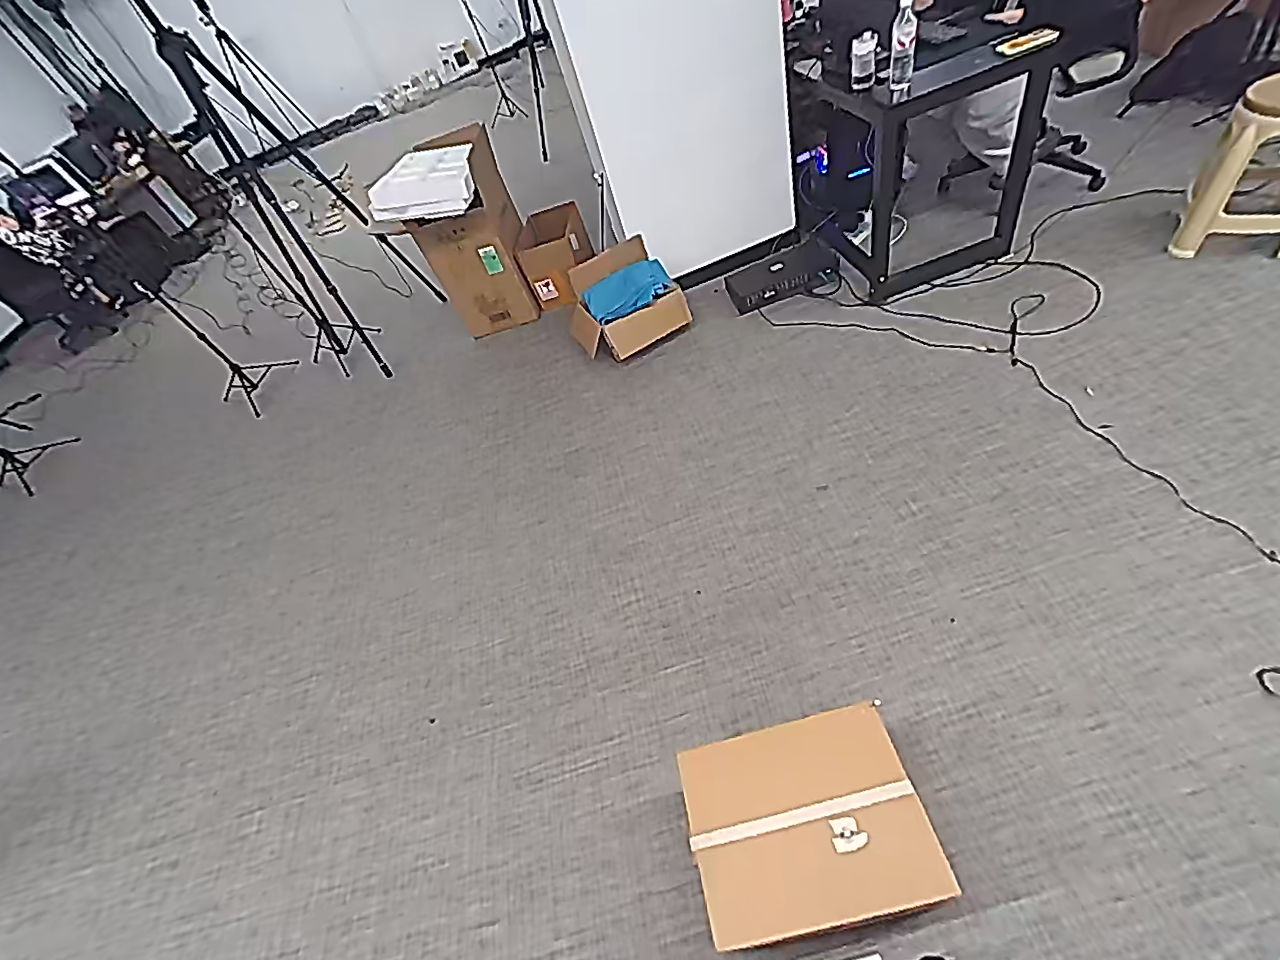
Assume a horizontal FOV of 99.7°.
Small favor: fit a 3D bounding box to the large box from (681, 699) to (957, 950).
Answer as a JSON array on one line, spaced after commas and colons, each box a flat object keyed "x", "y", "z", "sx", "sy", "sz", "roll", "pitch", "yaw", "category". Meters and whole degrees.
[{"x": 0.333, "y": 0.694, "z": 1.082, "sx": 0.408, "sy": 0.320, "sz": 0.320, "roll": -18, "pitch": 48, "yaw": 5, "category": "large box"}]
